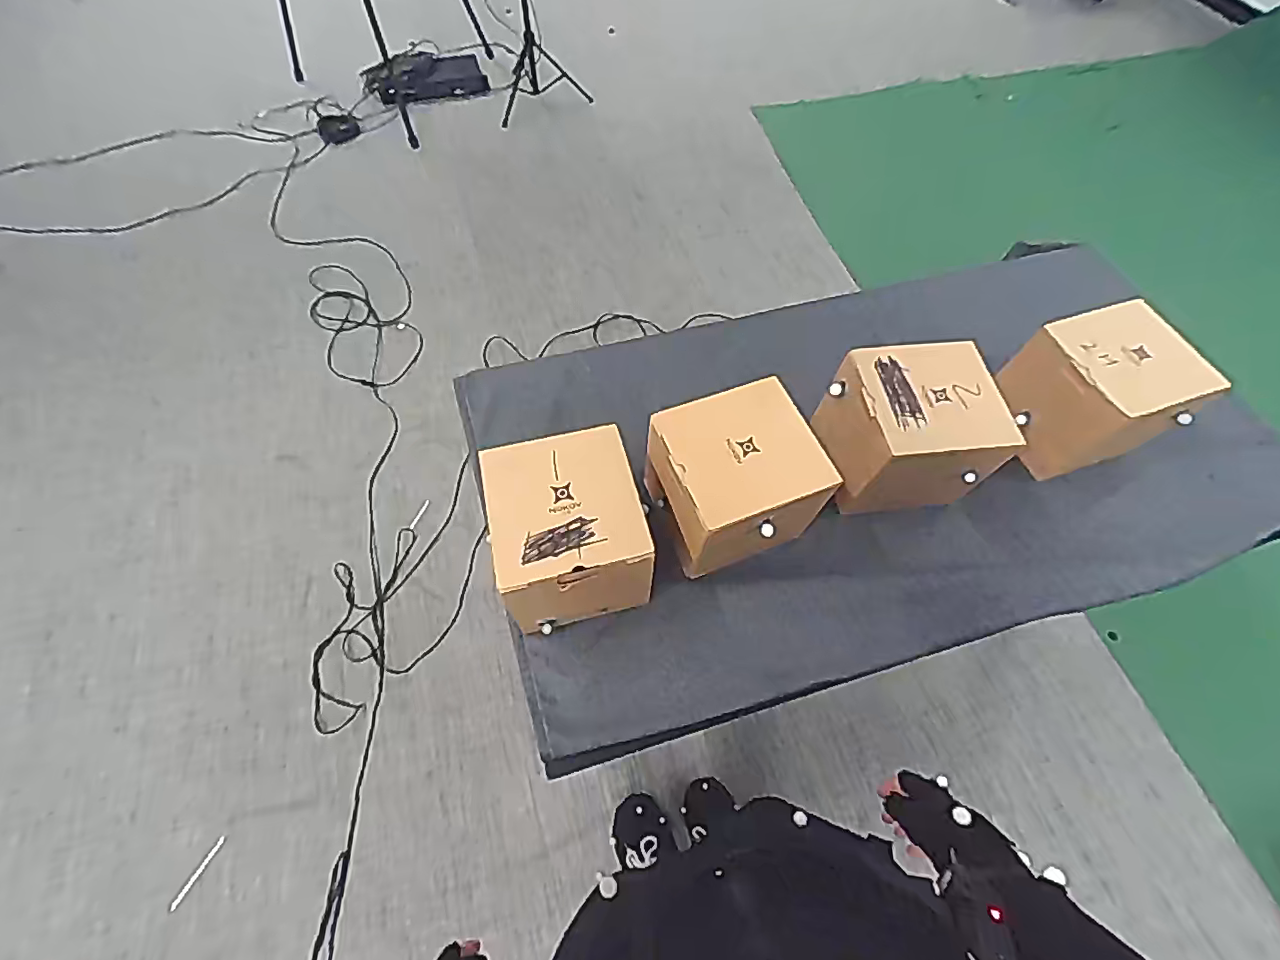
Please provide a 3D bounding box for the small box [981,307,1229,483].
[{"bbox_3d":[0.655,-0.118,0.789,0.179,0.176,0.168,-16,63,-10],"label":"small box"}]

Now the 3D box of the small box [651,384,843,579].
[{"bbox_3d":[0.124,0.007,0.706,0.179,0.176,0.168,-19,64,-11],"label":"small box"}]
